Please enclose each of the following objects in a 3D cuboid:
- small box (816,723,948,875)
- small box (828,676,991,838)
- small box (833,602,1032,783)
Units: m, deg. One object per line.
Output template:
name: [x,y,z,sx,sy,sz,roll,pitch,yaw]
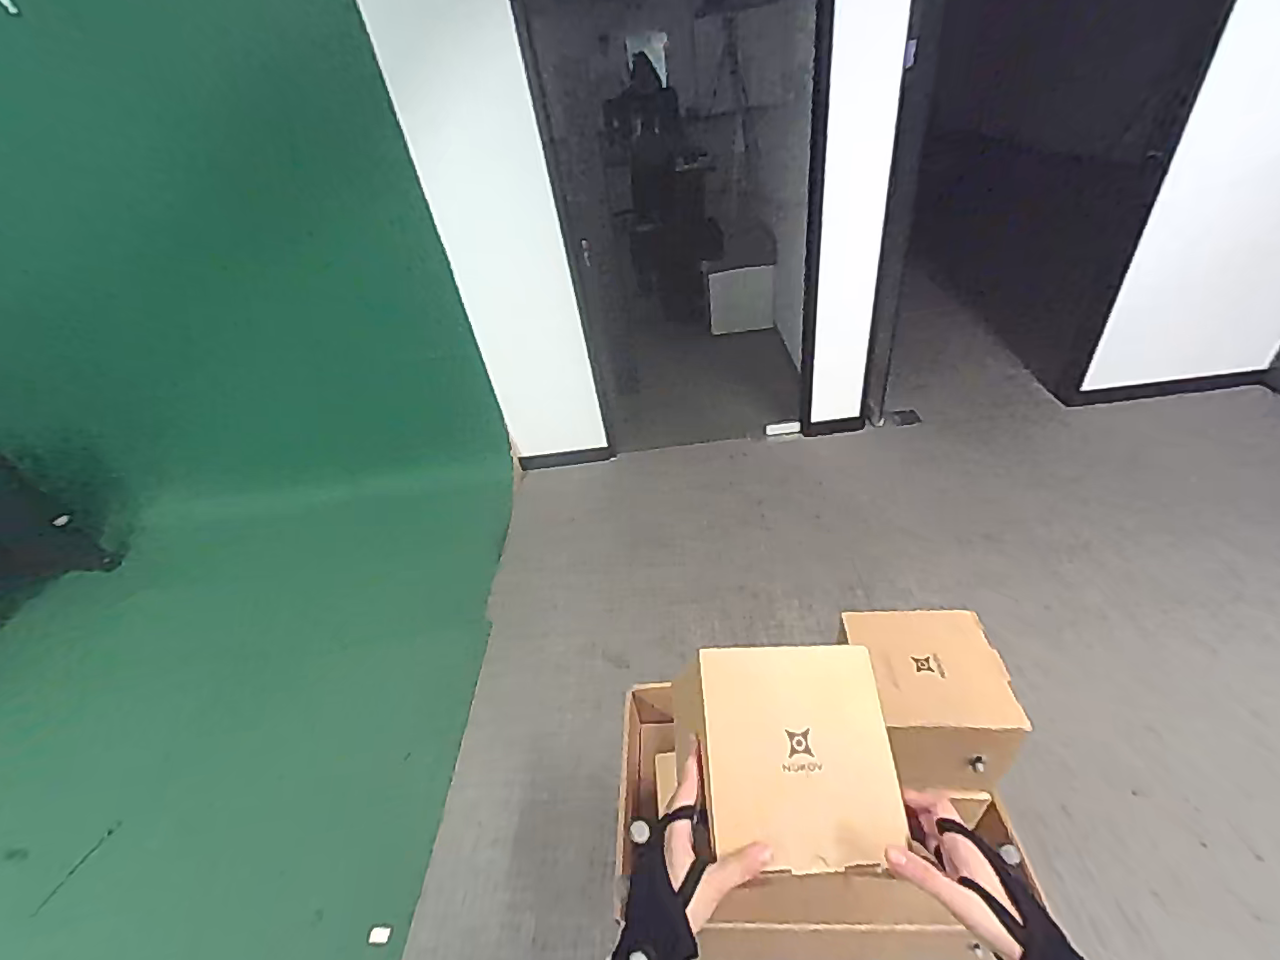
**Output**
small box: [0.395,0.539,0.915,0.168,0.176,0.179,-2,39,11]
small box: [0.384,0.413,0.810,0.179,0.176,0.168,-3,39,9]
small box: [0.366,0.280,0.717,0.179,0.176,0.168,-4,38,10]
